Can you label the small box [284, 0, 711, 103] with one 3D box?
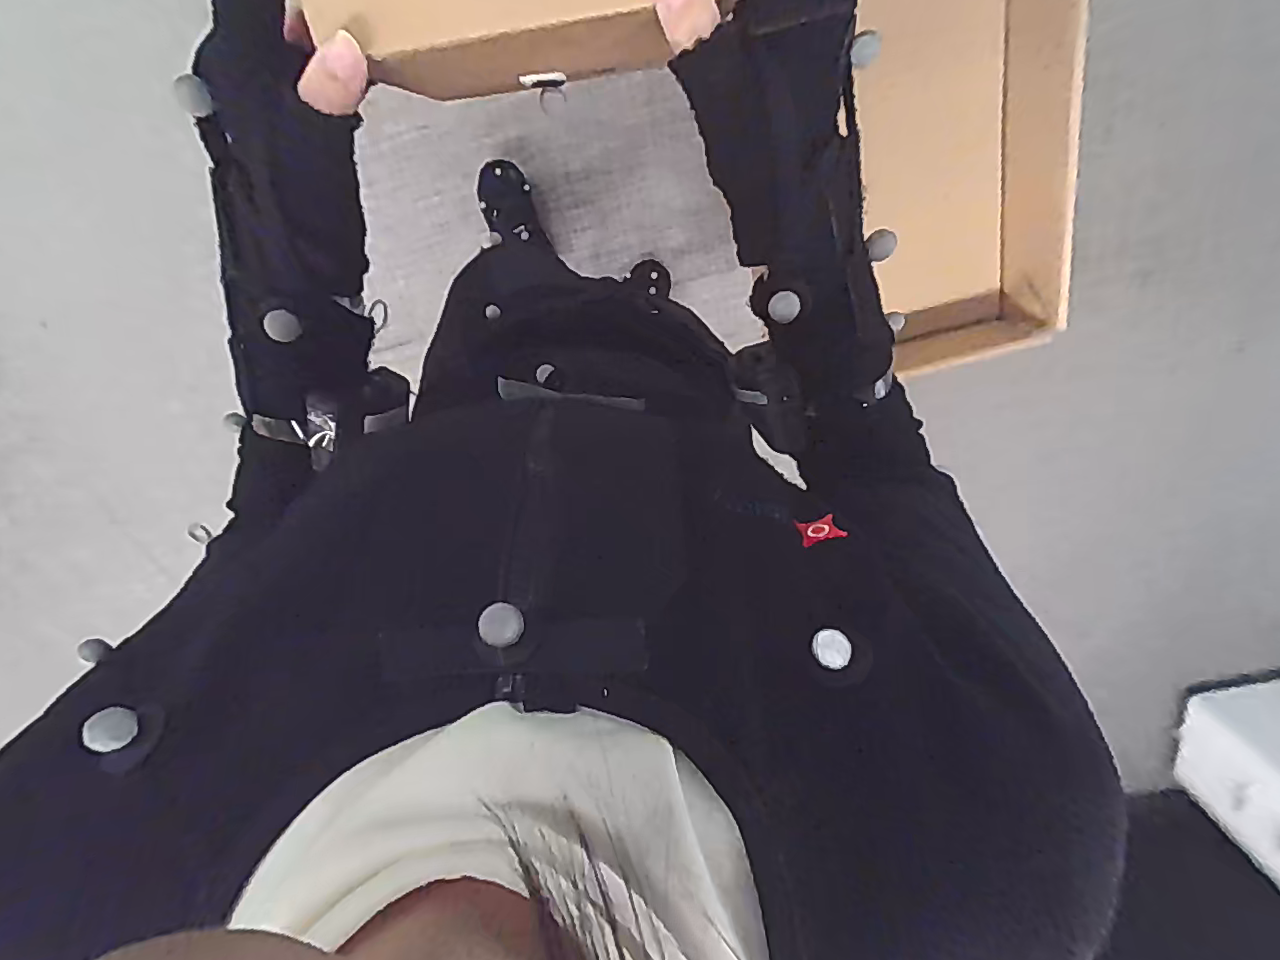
[{"bbox_3d":[-0.063,-0.288,0.234,0.168,0.176,0.179,-8,120,5],"label":"small box"}]
